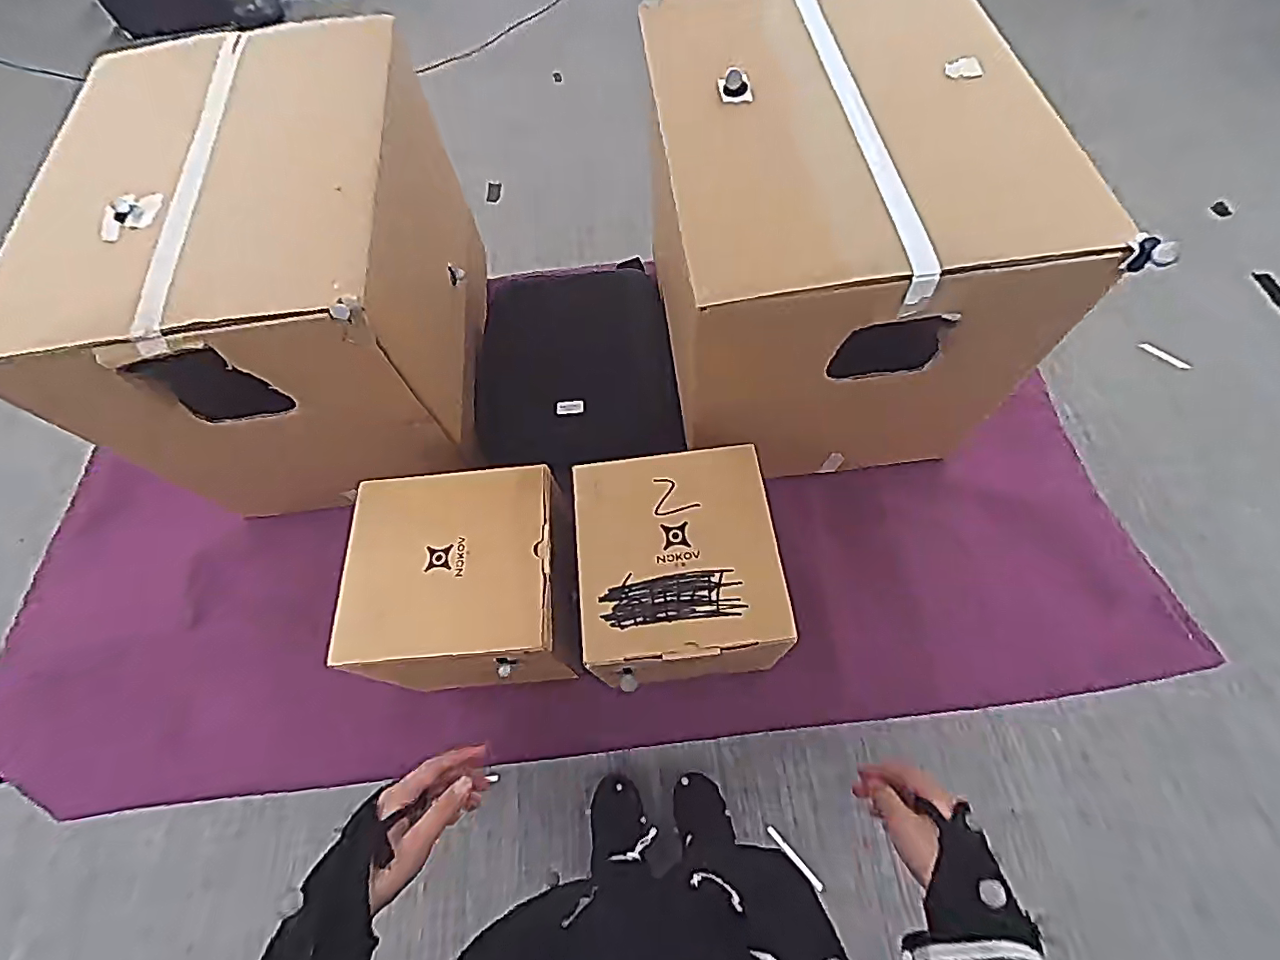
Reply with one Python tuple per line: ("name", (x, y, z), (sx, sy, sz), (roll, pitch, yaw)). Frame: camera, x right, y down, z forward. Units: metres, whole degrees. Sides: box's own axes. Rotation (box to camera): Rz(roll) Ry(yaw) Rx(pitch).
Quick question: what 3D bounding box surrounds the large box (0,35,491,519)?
("large box", (-0.372, -0.210, 0.624), (0.320, 0.320, 0.408), (-9, 66, 0))
